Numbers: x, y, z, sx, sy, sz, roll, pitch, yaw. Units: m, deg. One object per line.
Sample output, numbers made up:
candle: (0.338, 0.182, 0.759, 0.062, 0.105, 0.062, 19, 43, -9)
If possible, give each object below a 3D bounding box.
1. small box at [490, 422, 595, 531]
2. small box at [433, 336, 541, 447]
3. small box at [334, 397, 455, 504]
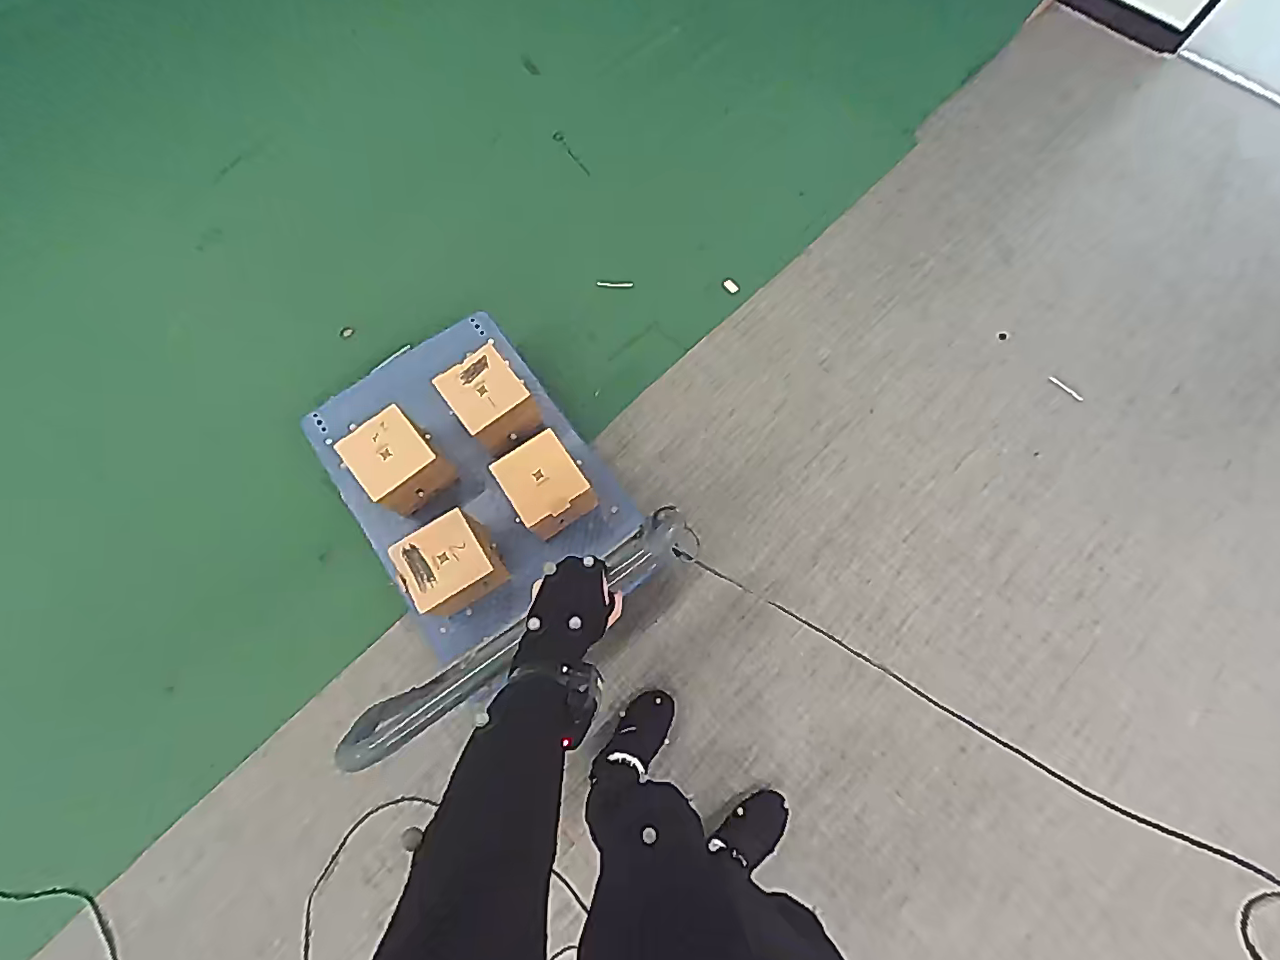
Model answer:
small box: (-0.221, -0.002, 1.269, 0.168, 0.176, 0.179, -34, 79, -8)
small box: (-0.366, -0.209, 1.321, 0.168, 0.176, 0.179, -37, 79, -8)
small box: (-0.570, -0.058, 1.282, 0.168, 0.176, 0.179, -38, 79, -10)
